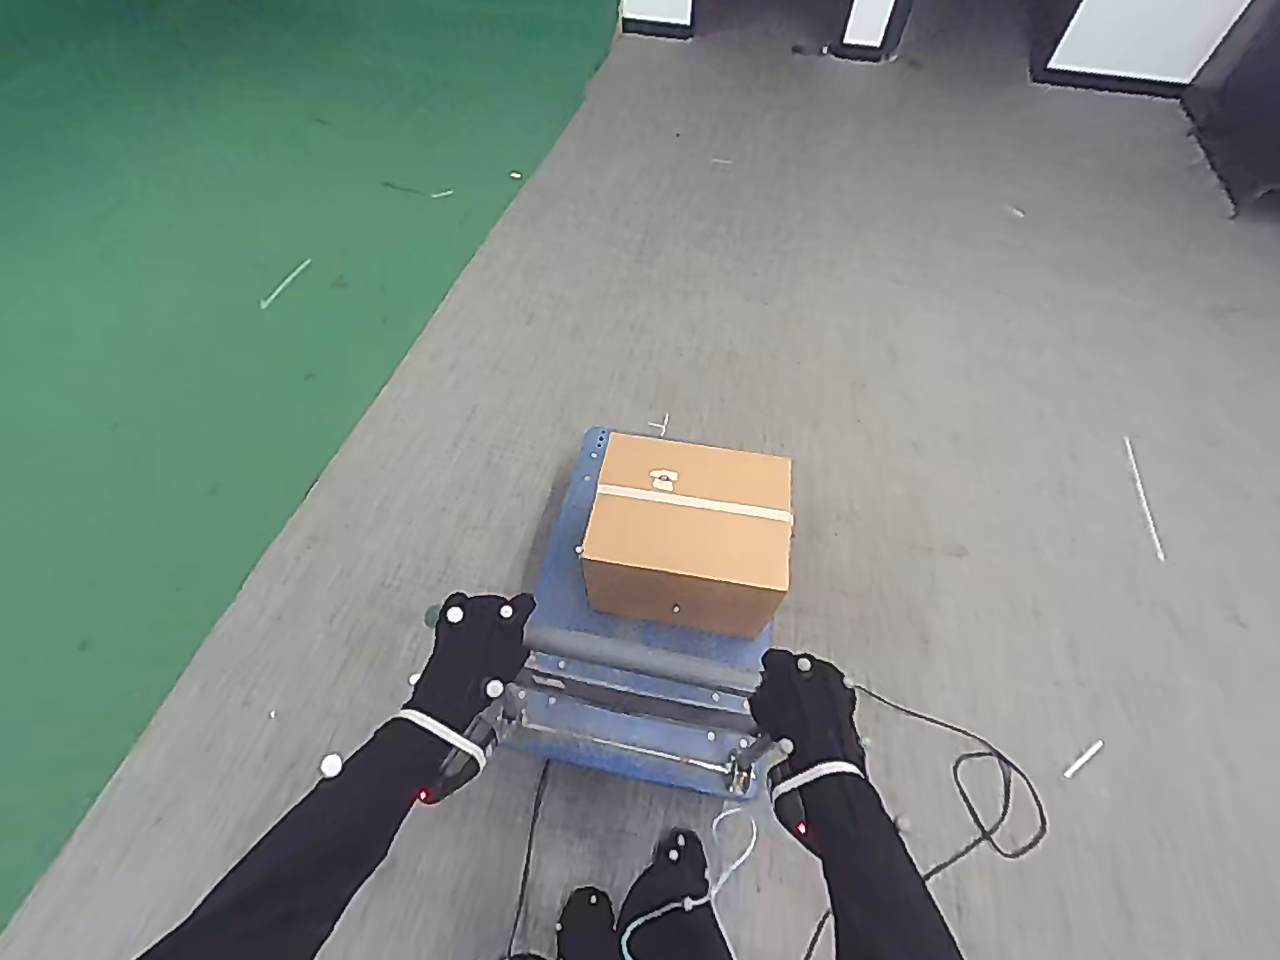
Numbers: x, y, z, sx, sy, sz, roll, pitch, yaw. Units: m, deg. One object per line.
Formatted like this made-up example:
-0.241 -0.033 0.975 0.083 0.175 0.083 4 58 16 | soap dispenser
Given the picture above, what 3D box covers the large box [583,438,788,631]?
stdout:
0.110 0.134 1.252 0.408 0.320 0.320 8 57 6 | large box
